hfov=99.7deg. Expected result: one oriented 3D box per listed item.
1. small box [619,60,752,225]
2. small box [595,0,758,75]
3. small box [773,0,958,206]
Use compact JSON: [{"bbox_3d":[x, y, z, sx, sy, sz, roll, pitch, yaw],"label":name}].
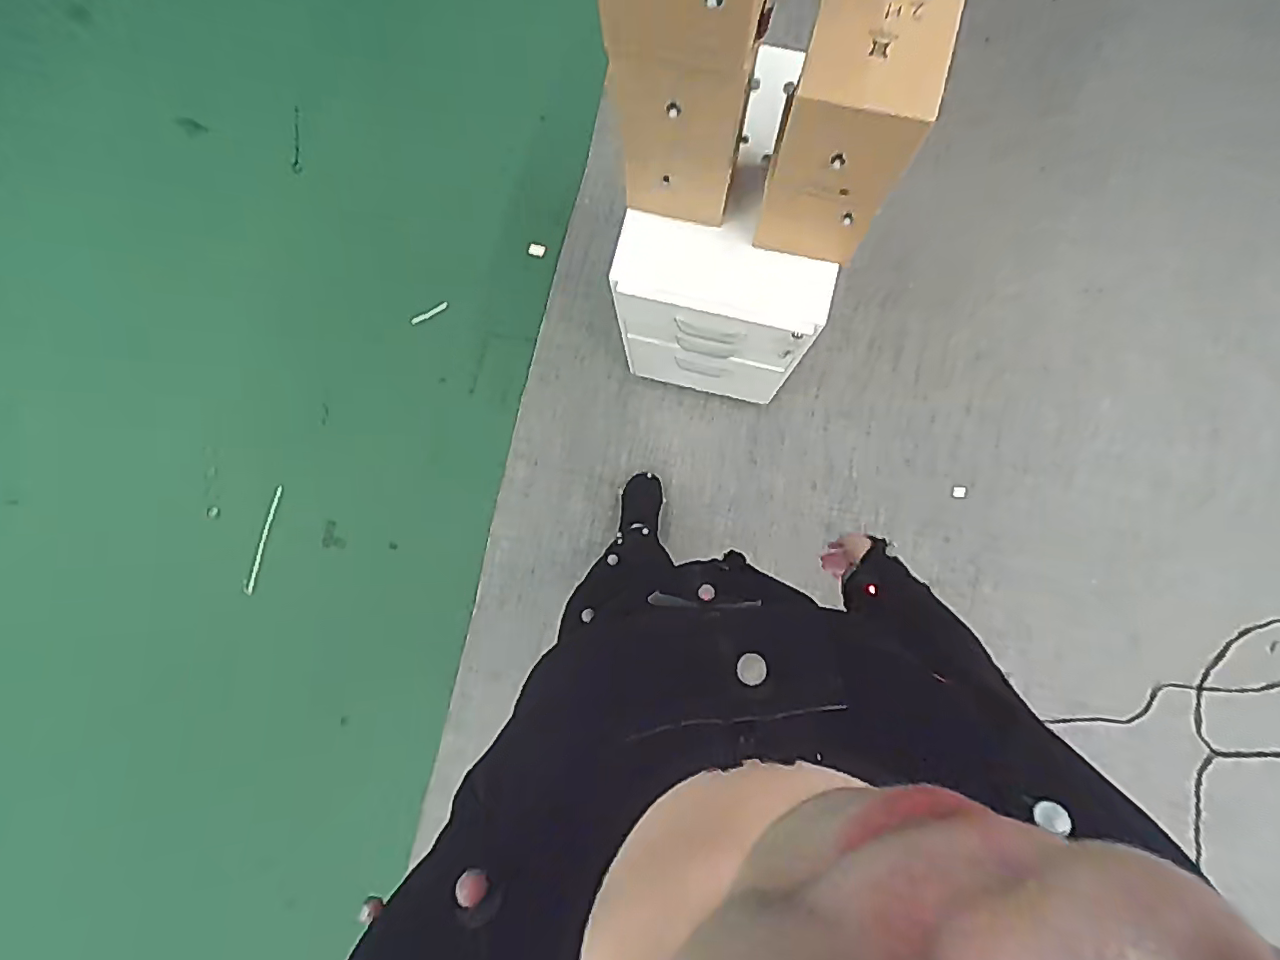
[{"bbox_3d":[0.073,-0.558,0.907,0.179,0.176,0.168,13,85,3],"label":"small box"},{"bbox_3d":[0.052,-0.584,0.580,0.179,0.176,0.168,14,83,4],"label":"small box"},{"bbox_3d":[0.285,-0.504,0.724,0.168,0.176,0.179,15,84,4],"label":"small box"}]
